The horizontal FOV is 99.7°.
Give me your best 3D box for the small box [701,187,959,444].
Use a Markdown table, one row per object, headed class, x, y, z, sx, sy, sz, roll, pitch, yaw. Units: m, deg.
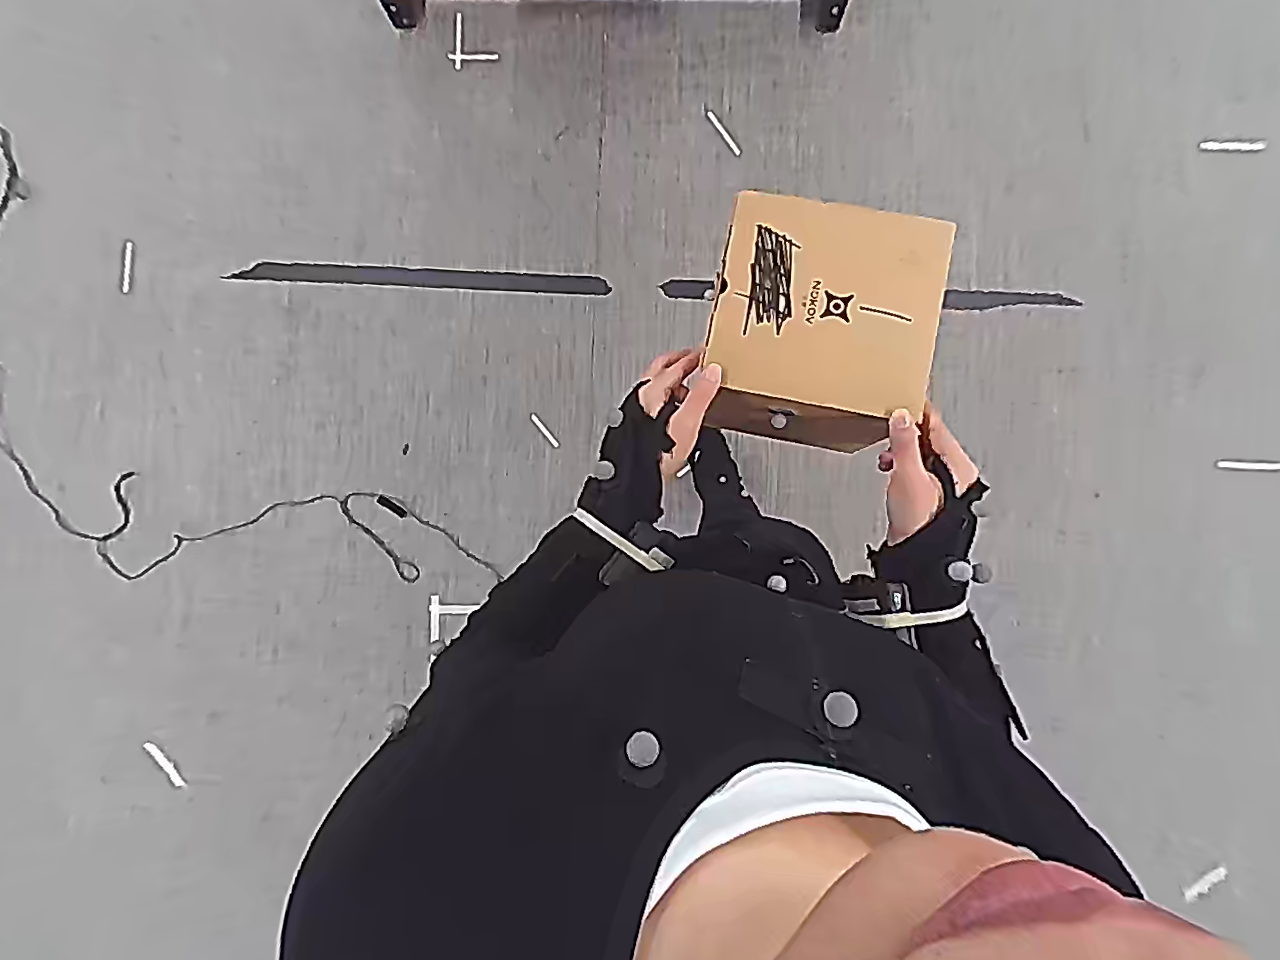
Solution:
| class | x | y | z | sx | sy | sz | roll | pitch | yaw |
| --- | --- | --- | --- | --- | --- | --- | --- | --- | --- |
| small box | 0.157 | -0.136 | 0.505 | 0.179 | 0.176 | 0.168 | 11 | 86 | 5 |
